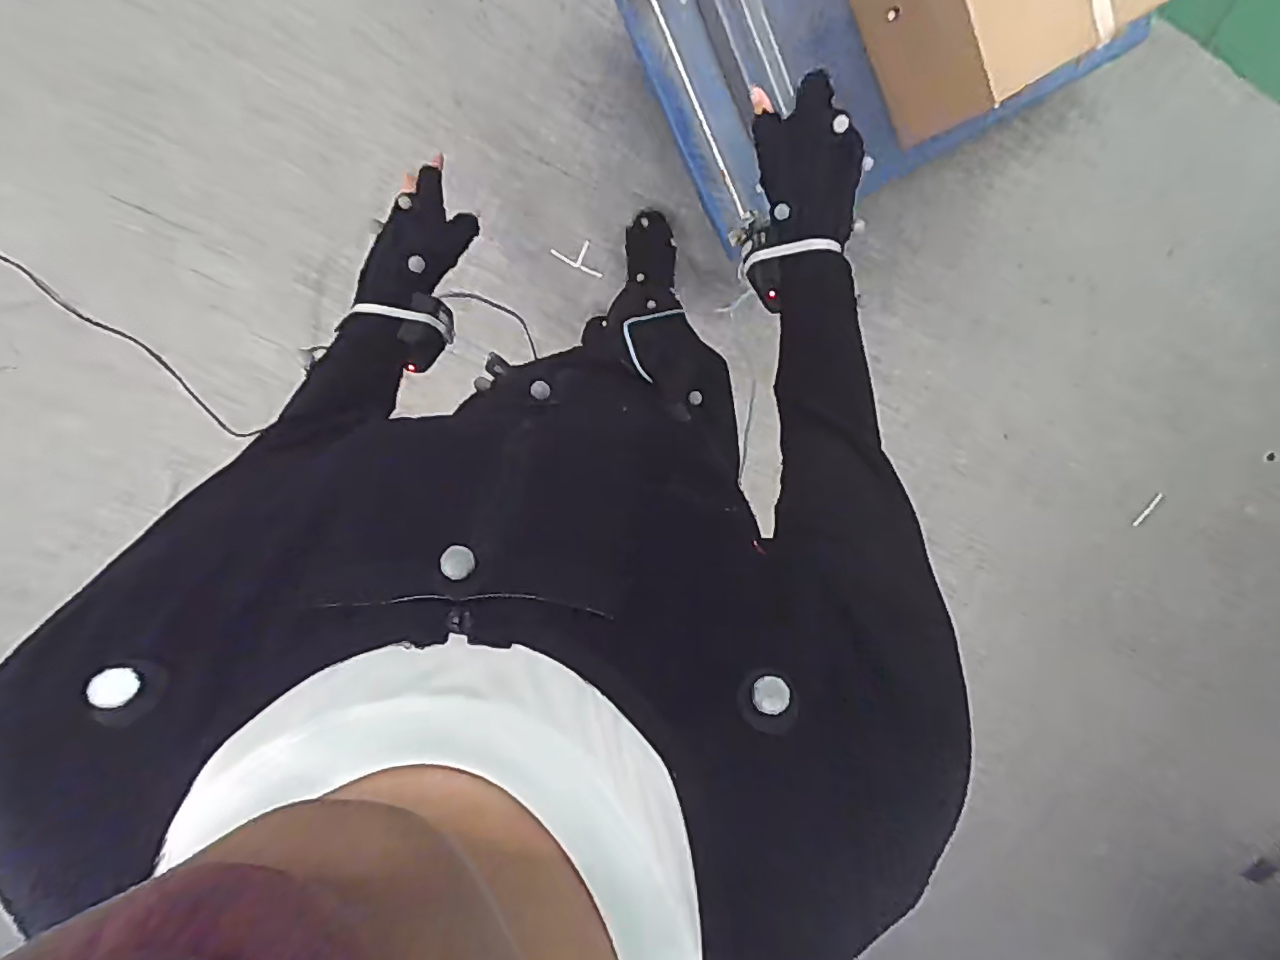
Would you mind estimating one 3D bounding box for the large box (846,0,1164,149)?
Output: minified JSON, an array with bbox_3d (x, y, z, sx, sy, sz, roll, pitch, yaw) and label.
[{"bbox_3d":[0.550,-0.835,0.855,0.320,0.320,0.408,-28,107,9],"label":"large box"}]
